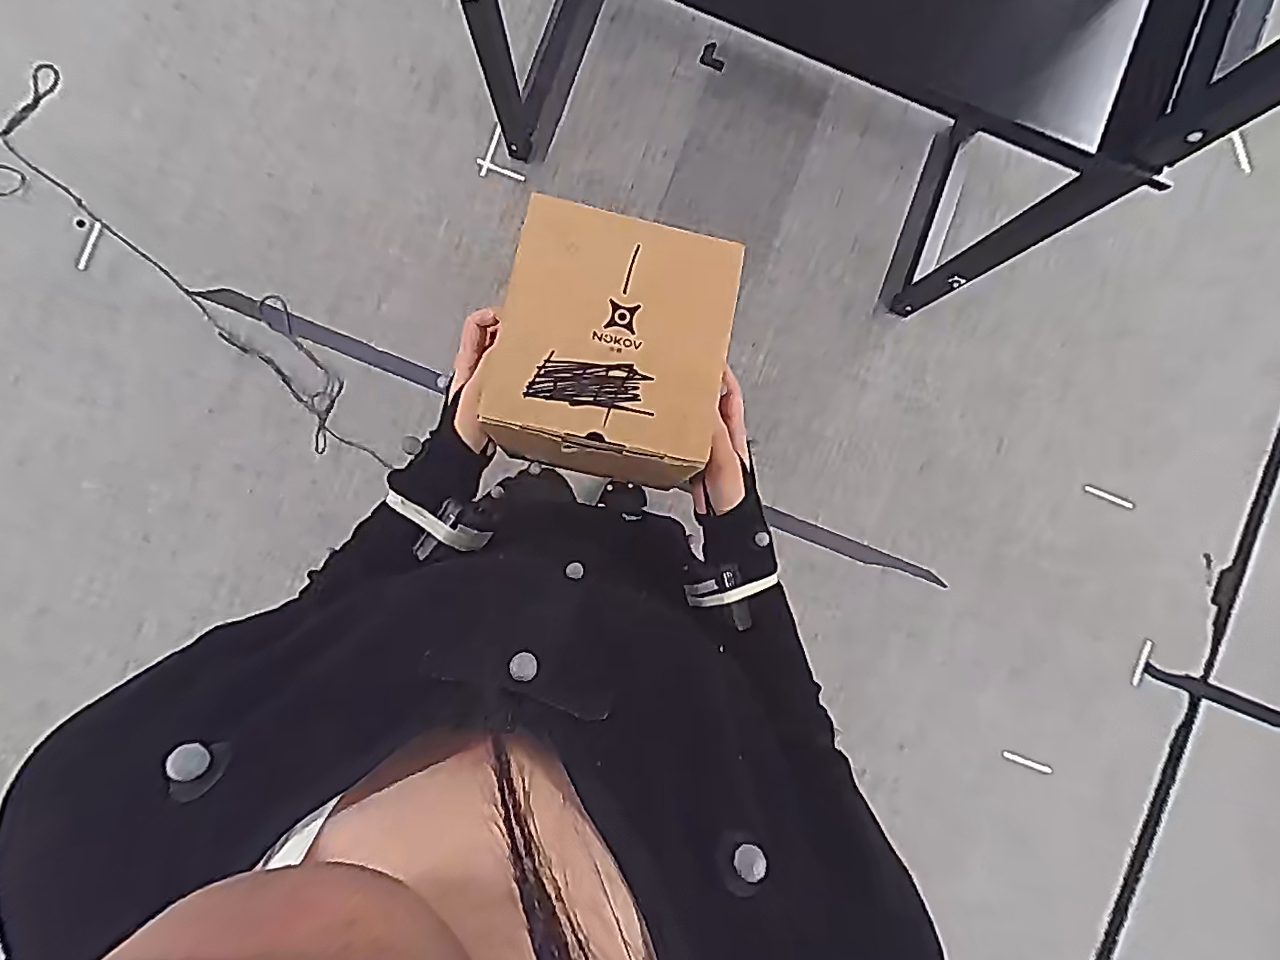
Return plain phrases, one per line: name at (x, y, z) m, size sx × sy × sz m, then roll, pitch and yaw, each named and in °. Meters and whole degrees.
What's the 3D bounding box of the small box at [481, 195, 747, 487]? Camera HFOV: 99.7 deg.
small box at (-0.023, -0.098, 0.468) m, size 0.168 × 0.176 × 0.179 m, roll 12°, pitch 81°, yaw -6°
